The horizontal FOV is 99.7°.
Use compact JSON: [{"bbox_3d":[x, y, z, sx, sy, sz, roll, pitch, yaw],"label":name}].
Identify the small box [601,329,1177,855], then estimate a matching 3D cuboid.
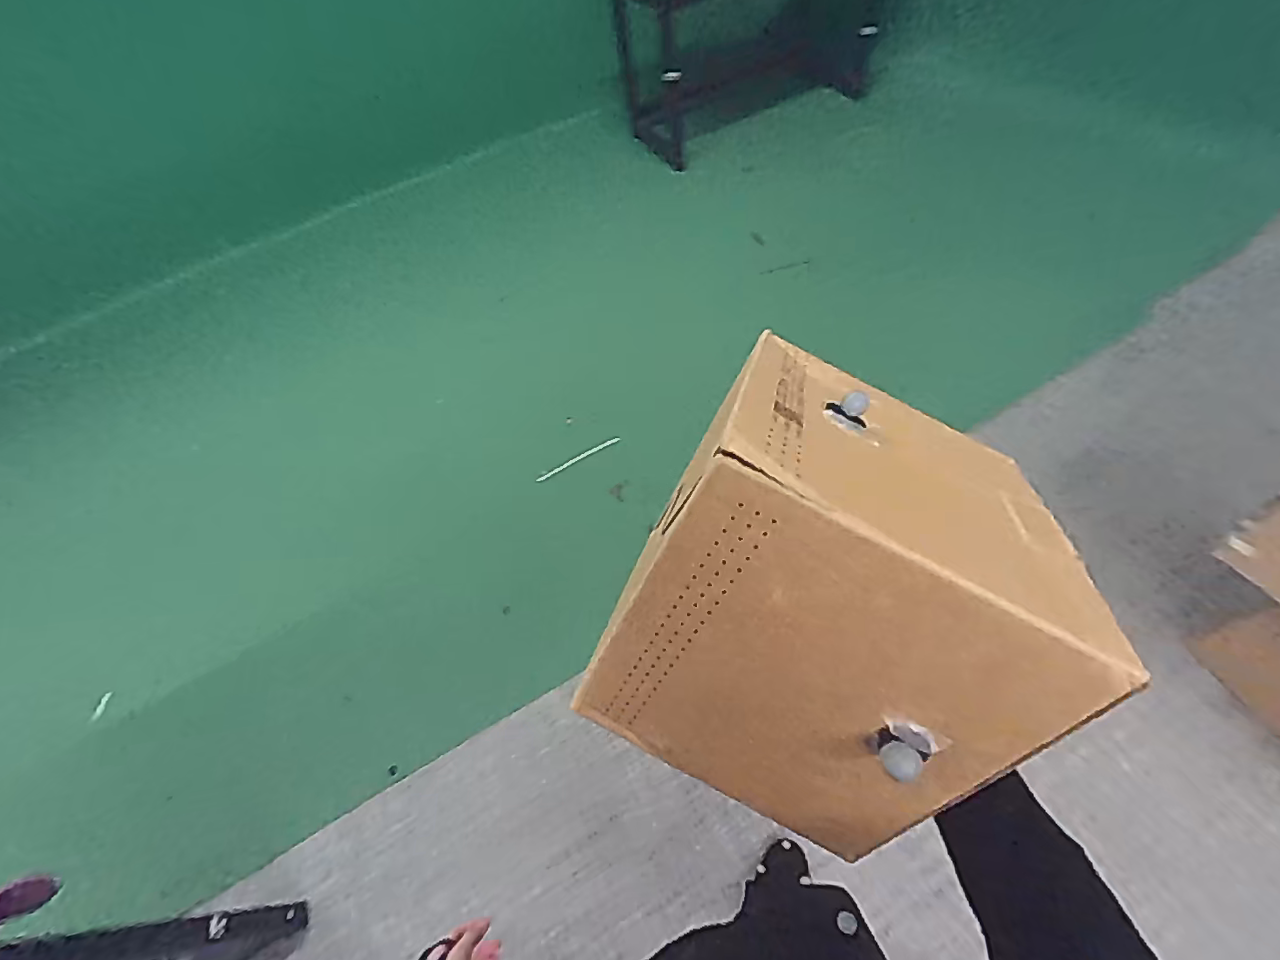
[{"bbox_3d":[0.096,0.048,0.292,0.176,0.179,0.168,29,34,3],"label":"small box"}]
